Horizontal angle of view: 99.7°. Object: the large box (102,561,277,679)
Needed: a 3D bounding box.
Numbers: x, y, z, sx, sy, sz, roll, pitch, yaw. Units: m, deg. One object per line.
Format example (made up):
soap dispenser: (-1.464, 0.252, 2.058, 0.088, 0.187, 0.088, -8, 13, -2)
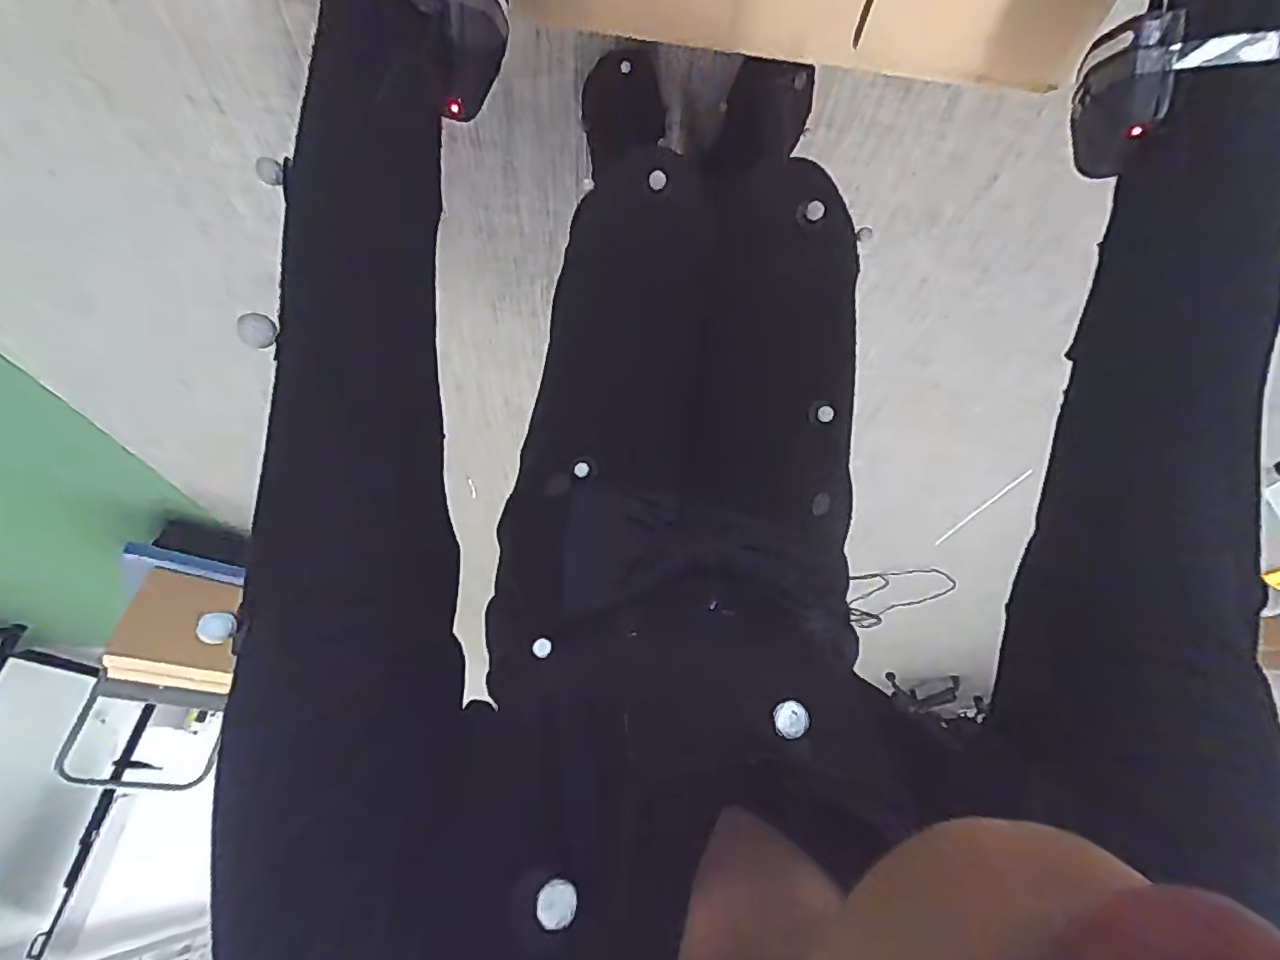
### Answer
large box: (-1.655, 0.527, 2.003, 0.408, 0.320, 0.320, 26, 143, -33)
